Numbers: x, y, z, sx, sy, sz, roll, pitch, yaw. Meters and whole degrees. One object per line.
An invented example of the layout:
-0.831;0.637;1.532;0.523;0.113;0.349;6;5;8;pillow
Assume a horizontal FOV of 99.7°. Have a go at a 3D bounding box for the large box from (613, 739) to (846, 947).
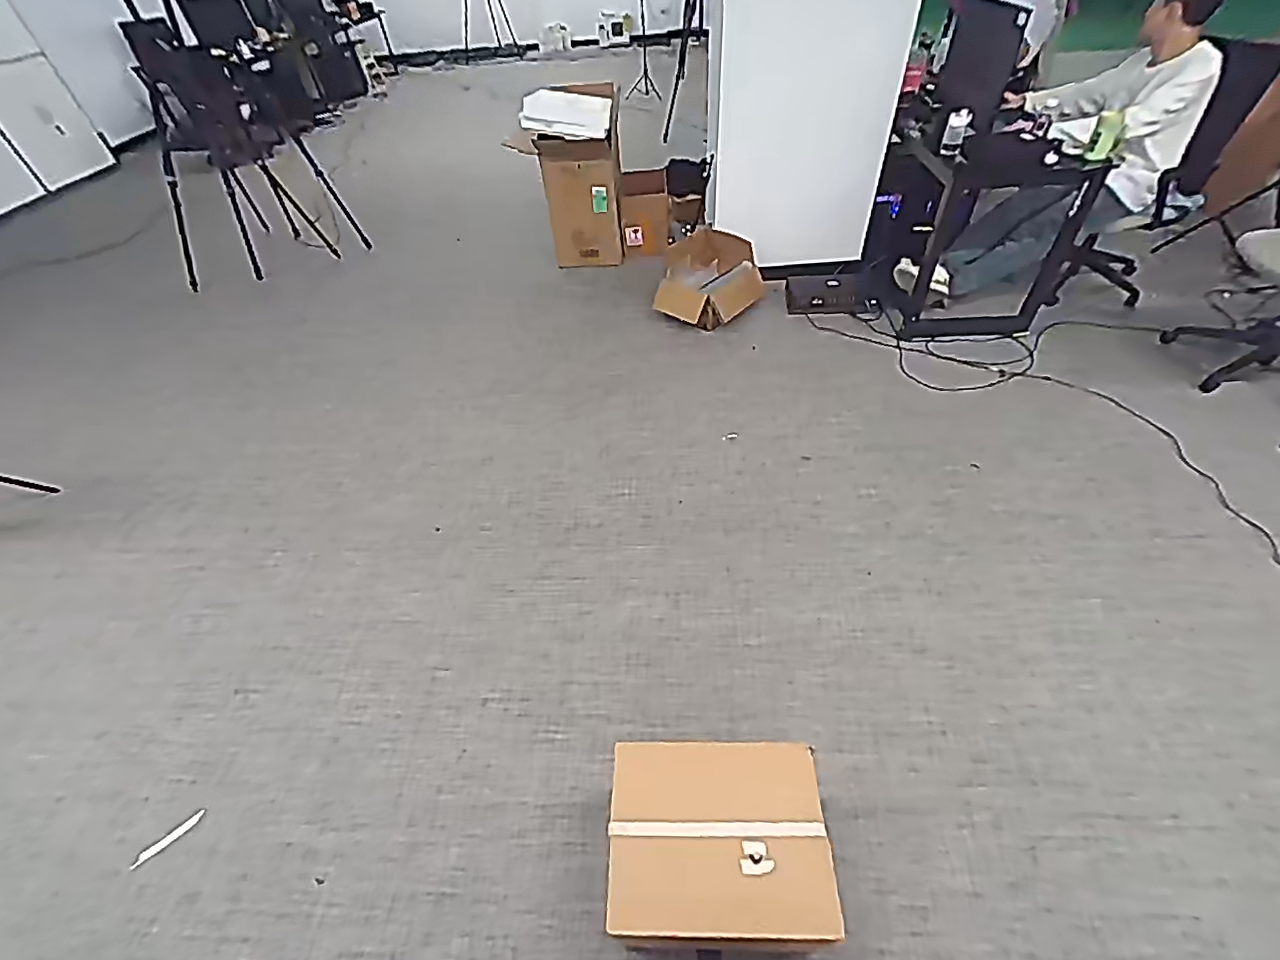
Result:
0.157;0.756;1.125;0.408;0.320;0.320;-1;47;3;large box
